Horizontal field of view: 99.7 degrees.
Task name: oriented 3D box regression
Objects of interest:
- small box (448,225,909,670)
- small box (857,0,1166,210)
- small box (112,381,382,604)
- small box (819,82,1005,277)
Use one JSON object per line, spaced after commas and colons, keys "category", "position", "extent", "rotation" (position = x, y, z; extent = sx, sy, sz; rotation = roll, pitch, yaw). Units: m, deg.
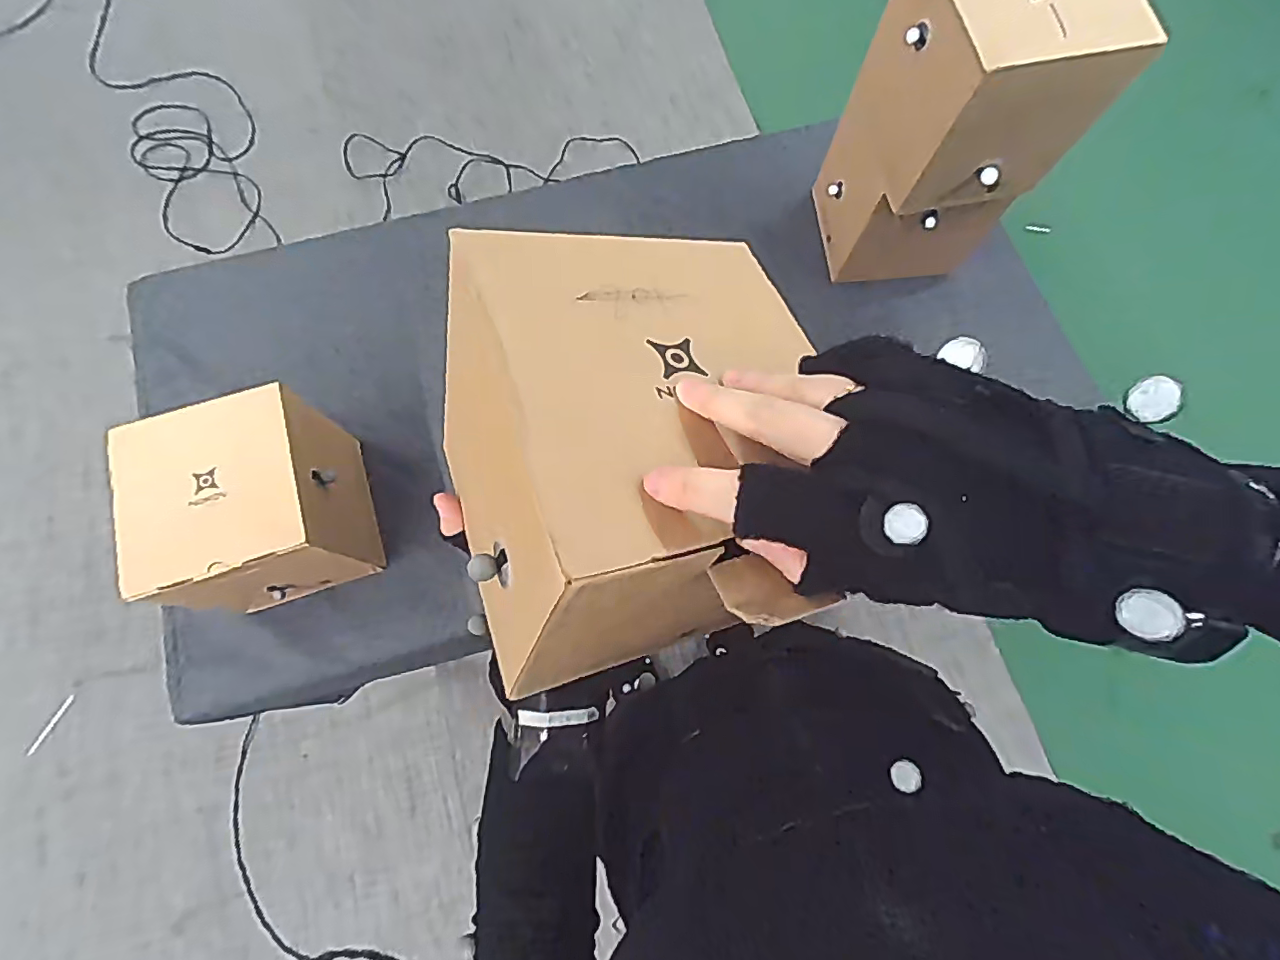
{"category": "small box", "position": [-0.006, -0.010, 0.300], "extent": [0.168, 0.176, 0.179], "rotation": [-10, 61, -26]}
{"category": "small box", "position": [0.346, -0.413, 0.548], "extent": [0.168, 0.176, 0.179], "rotation": [-11, 76, -3]}
{"category": "small box", "position": [-0.408, 0.024, 0.587], "extent": [0.168, 0.176, 0.179], "rotation": [-18, 75, -6]}
{"category": "small box", "position": [0.350, -0.388, 0.712], "extent": [0.179, 0.176, 0.168], "rotation": [-4, 75, -2]}
